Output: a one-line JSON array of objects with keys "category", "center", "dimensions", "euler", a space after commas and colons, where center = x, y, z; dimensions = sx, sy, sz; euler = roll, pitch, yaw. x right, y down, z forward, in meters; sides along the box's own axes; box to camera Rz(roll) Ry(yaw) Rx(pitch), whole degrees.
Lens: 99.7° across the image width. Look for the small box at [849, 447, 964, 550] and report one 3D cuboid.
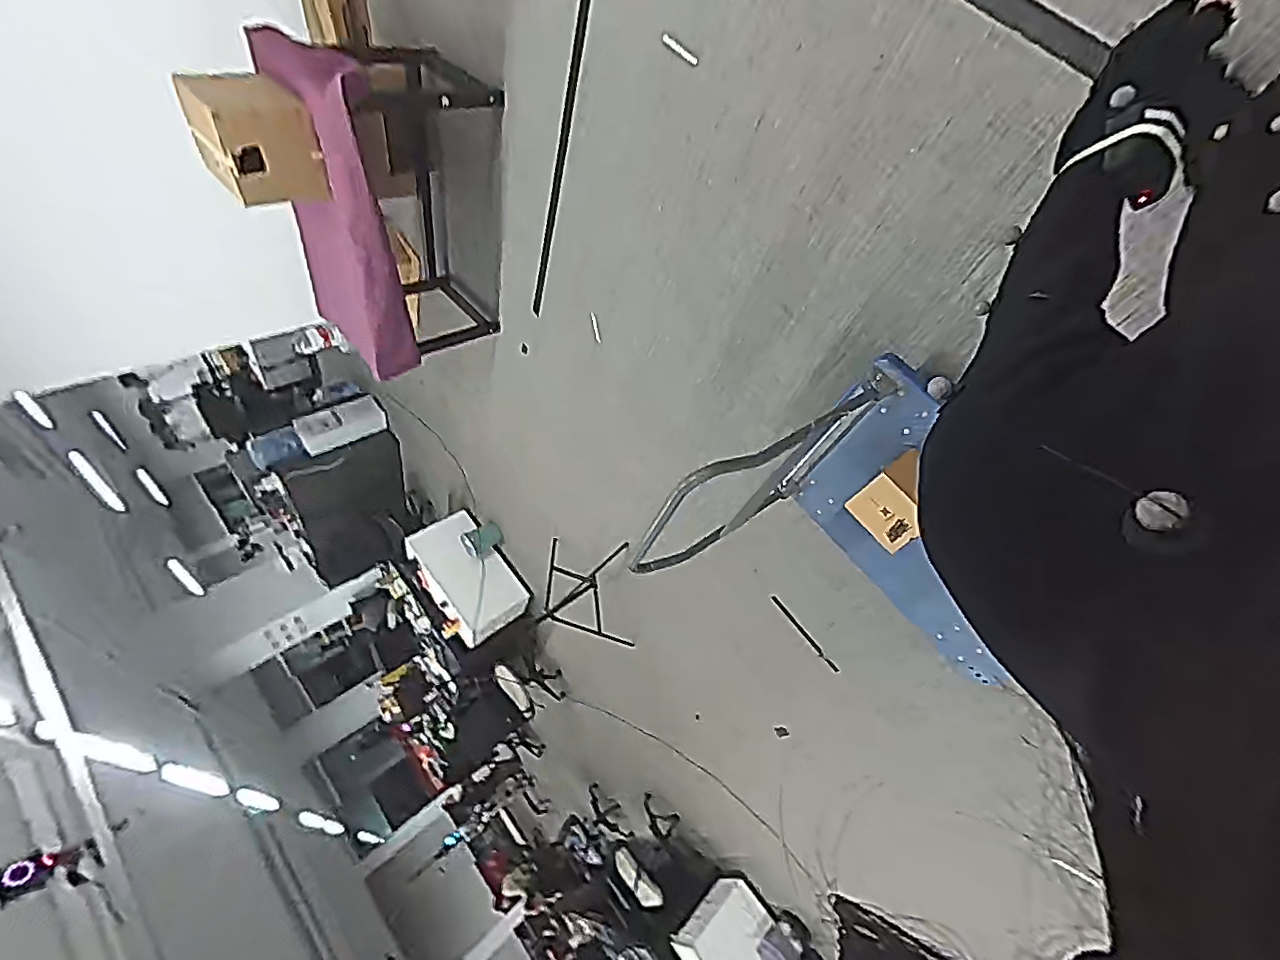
[{"category": "small box", "center": [0.694, 0.046, 1.403], "dimensions": [0.179, 0.176, 0.168], "euler": [50, 146, 15]}]
